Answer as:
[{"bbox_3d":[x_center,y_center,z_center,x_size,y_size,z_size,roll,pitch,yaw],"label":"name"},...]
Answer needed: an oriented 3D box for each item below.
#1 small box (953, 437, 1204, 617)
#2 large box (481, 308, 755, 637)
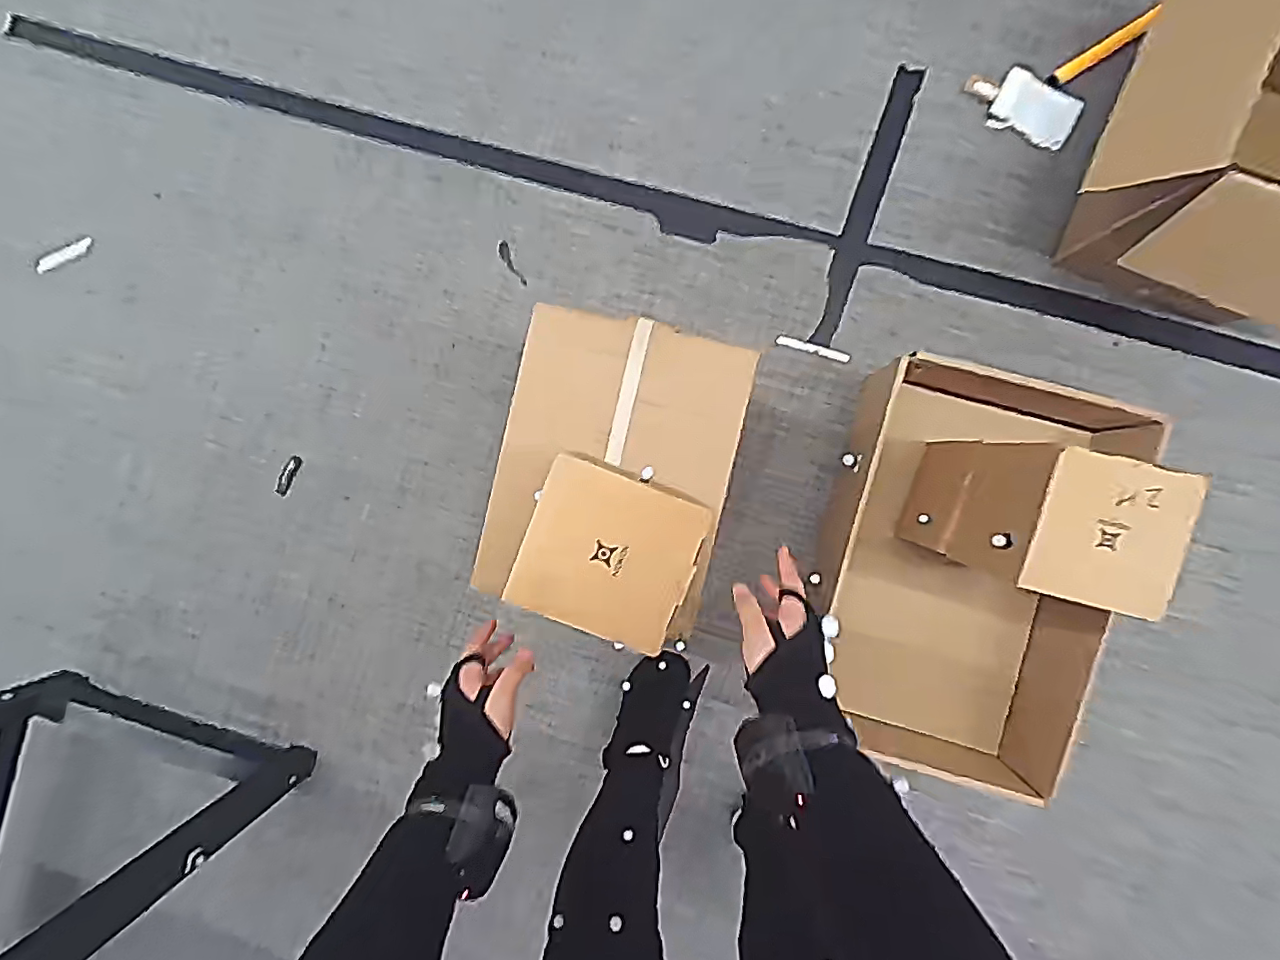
[{"bbox_3d":[0.539,0.050,0.696,0.168,0.176,0.179,15,94,2],"label":"small box"},{"bbox_3d":[-0.024,-0.017,0.880,0.320,0.320,0.408,13,93,4],"label":"large box"}]
